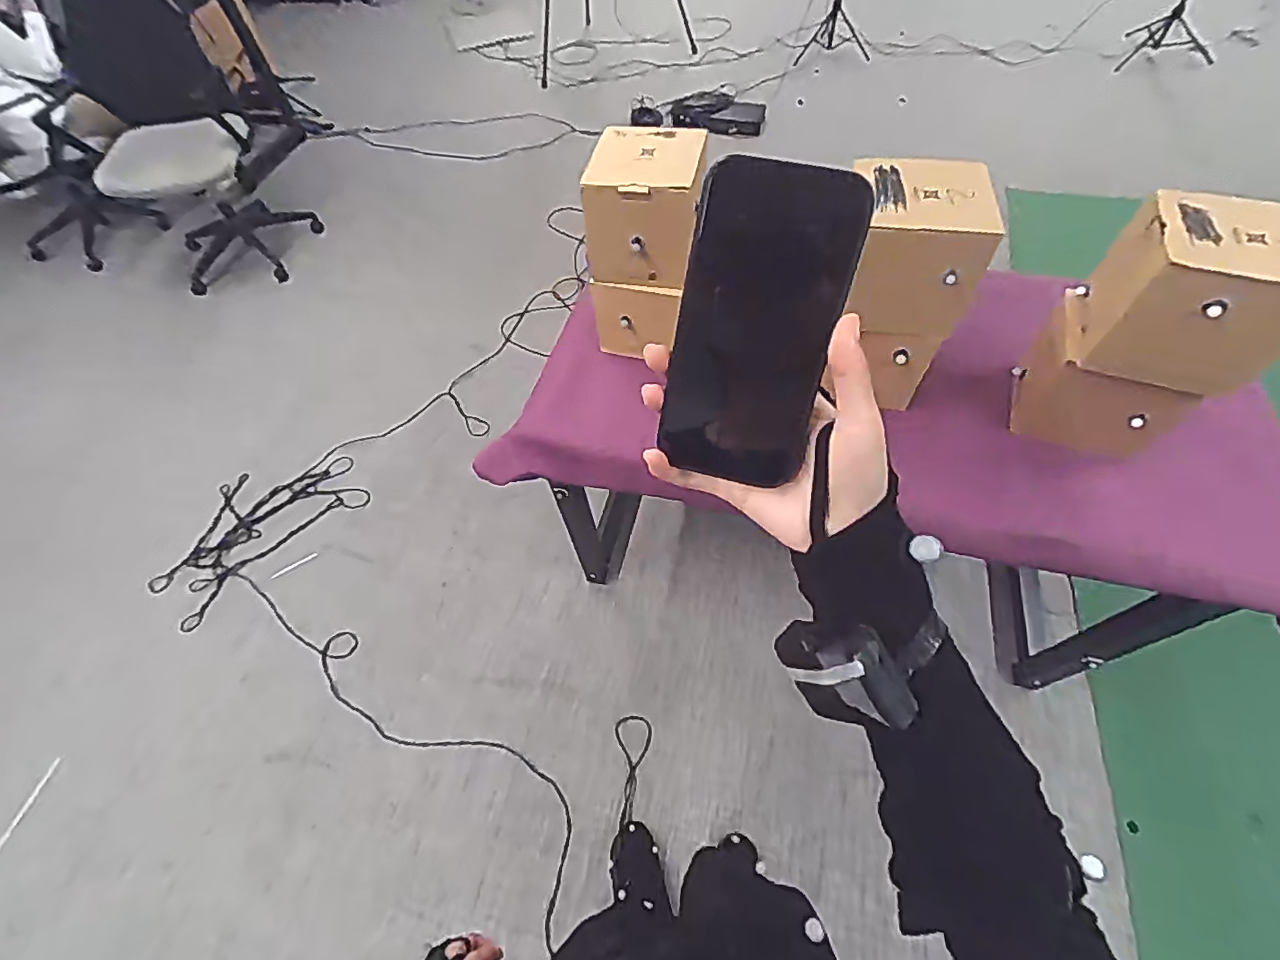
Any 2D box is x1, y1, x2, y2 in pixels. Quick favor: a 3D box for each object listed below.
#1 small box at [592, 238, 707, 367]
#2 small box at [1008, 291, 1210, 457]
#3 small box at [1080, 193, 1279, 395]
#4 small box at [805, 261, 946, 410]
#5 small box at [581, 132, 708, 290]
[{"bbox_3d":[0.026,-0.336,1.013,0.168,0.176,0.179,13,59,13],"label":"small box"},{"bbox_3d":[0.713,-0.158,0.839,0.179,0.176,0.168,18,60,16],"label":"small box"},{"bbox_3d":[0.706,-0.233,0.693,0.179,0.176,0.168,18,60,15],"label":"small box"},{"bbox_3d":[0.393,-0.240,0.918,0.179,0.176,0.168,12,59,13],"label":"small box"},{"bbox_3d":[0.016,-0.433,0.880,0.168,0.176,0.179,8,59,9],"label":"small box"}]
